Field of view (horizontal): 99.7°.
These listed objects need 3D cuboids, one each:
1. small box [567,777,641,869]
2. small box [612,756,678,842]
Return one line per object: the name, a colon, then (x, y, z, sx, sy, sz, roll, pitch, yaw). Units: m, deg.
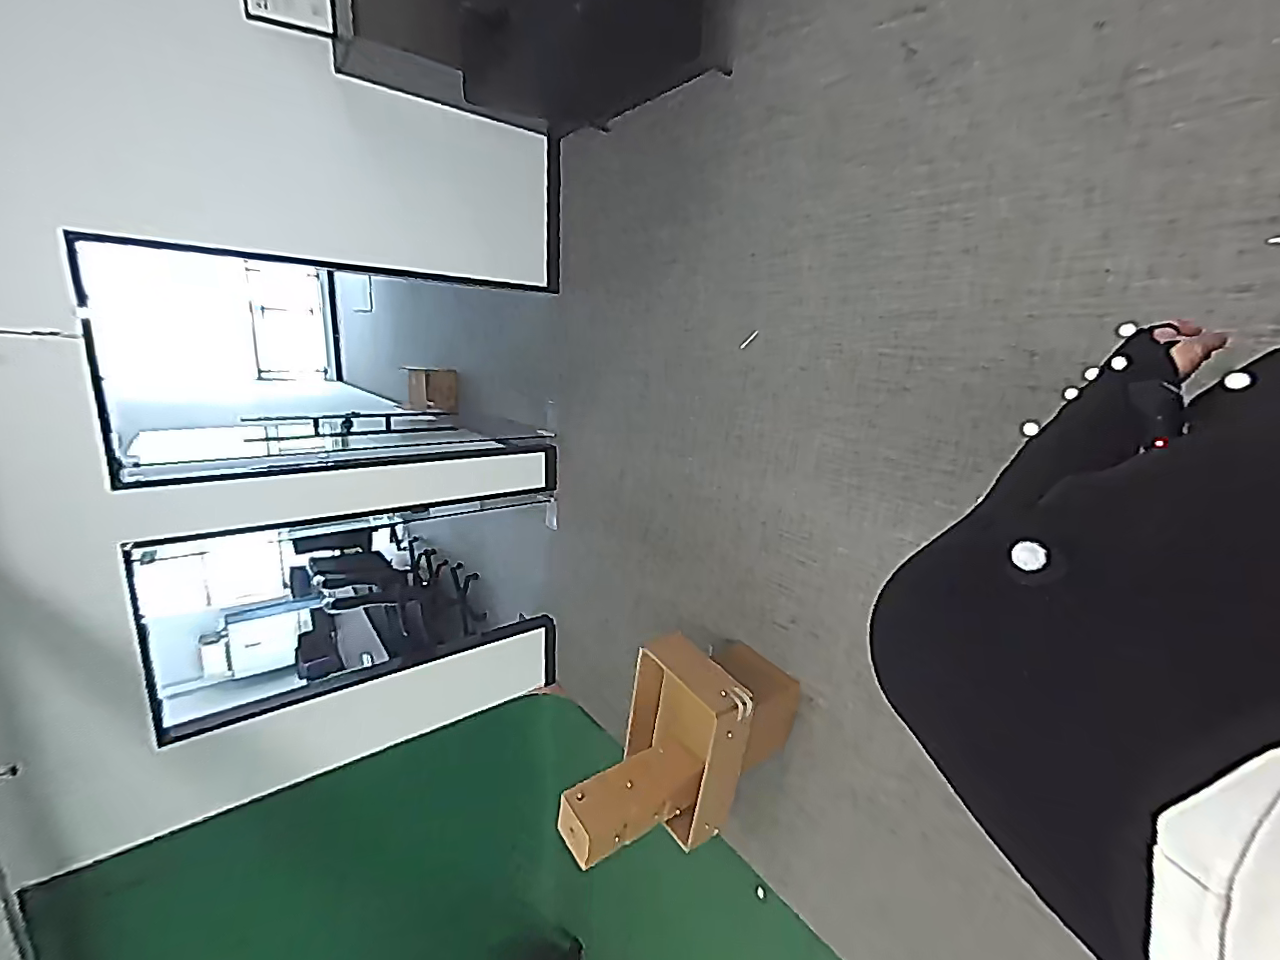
small box: (-0.122, 1.130, 1.803, 0.179, 0.176, 0.168, 31, 121, 44)
small box: (0.009, 1.108, 1.901, 0.179, 0.176, 0.168, 30, 120, 44)
